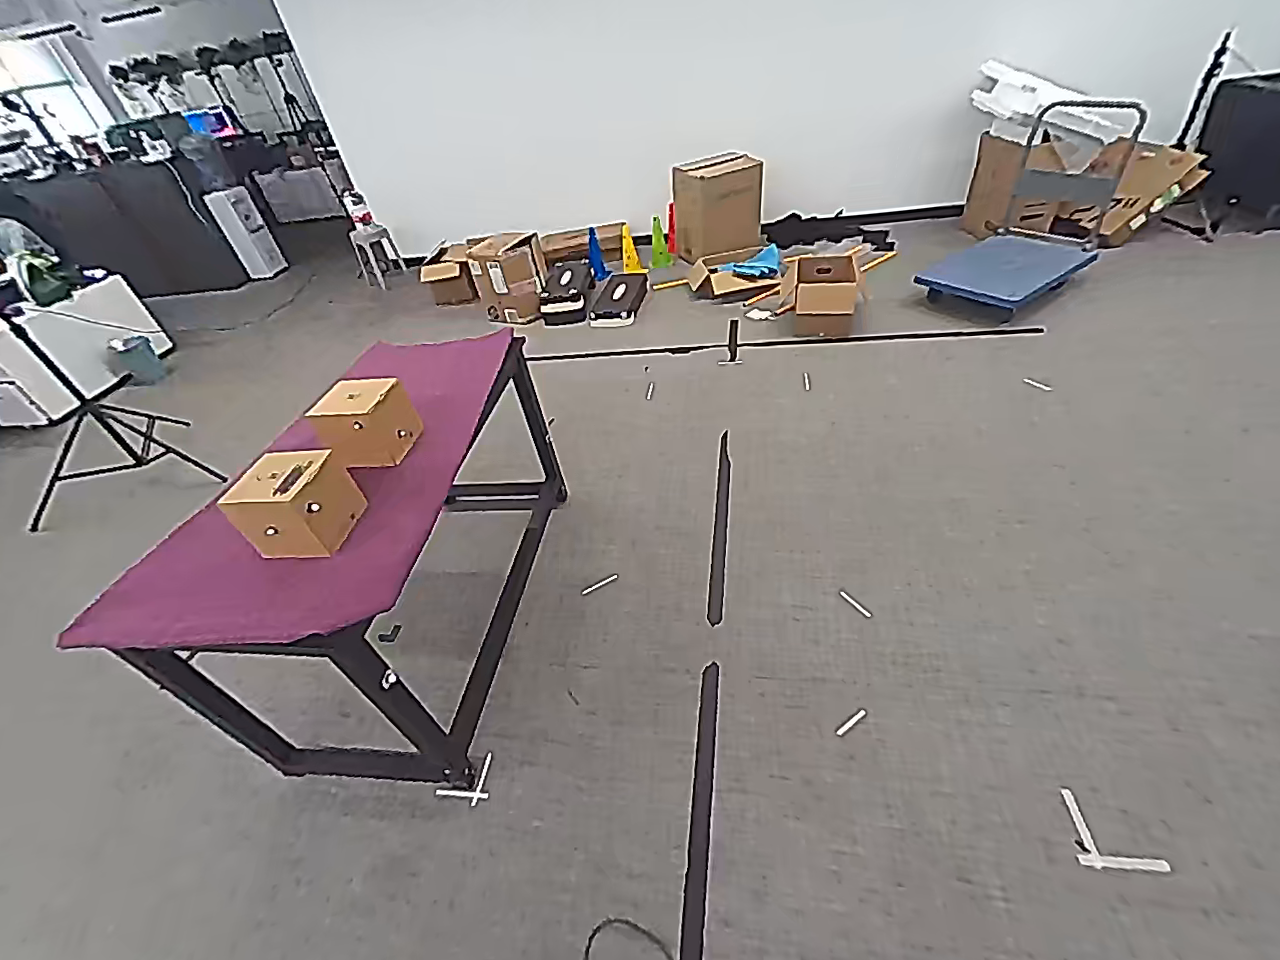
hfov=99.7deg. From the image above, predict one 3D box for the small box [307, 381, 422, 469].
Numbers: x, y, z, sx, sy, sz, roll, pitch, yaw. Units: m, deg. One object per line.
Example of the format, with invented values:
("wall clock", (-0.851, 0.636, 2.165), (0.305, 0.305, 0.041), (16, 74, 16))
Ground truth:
("small box", (-0.707, -0.141, 1.410), (0.179, 0.176, 0.168), (-1, 41, 10))
